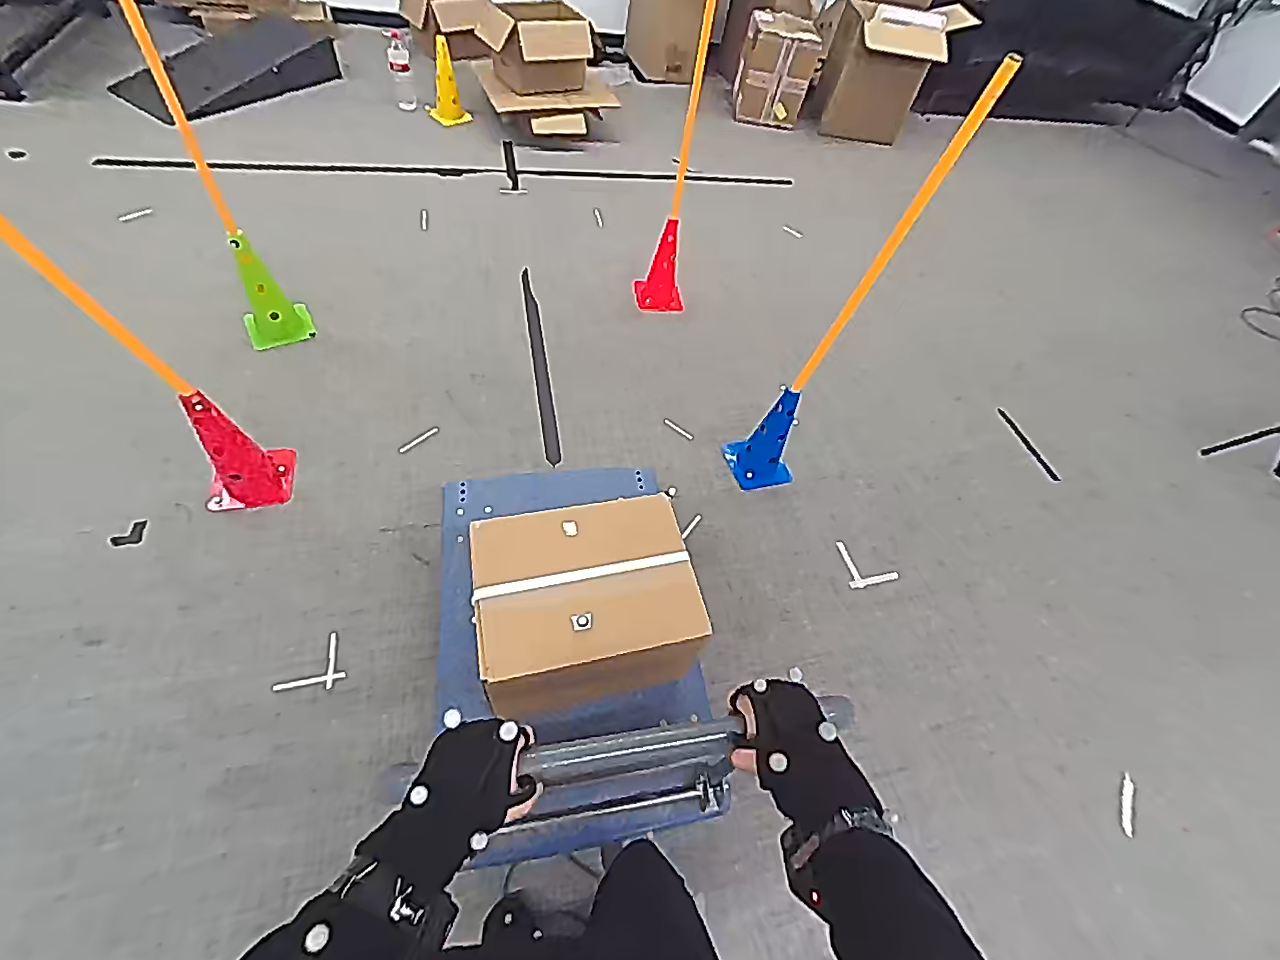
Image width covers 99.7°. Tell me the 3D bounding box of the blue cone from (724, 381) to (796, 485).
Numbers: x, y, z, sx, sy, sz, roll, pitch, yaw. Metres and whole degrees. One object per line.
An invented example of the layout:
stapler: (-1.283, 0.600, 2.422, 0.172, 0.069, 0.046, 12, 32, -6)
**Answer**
blue cone: (0.423, -0.161, 1.734, 0.193, 0.380, 0.192, -9, 56, -16)

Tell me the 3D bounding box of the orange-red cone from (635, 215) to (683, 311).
orange-red cone: (0.106, -0.889, 2.180, 0.199, 0.360, 0.198, 0, 56, -11)
